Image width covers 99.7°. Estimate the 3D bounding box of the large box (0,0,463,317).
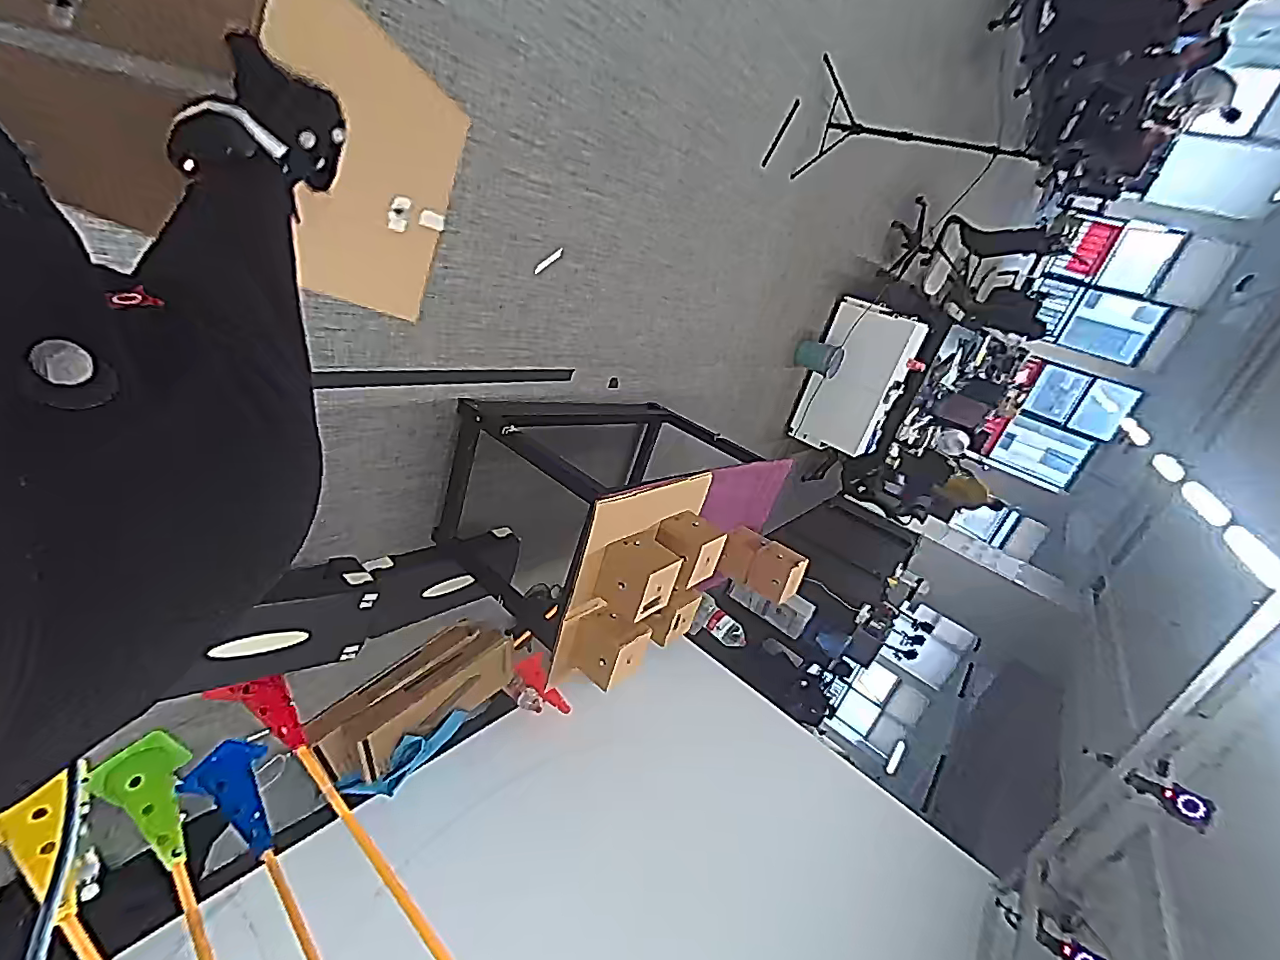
[{"bbox_3d":[-0.519,-0.447,0.720,0.320,0.408,0.320,-70,165,8],"label":"large box"}]
